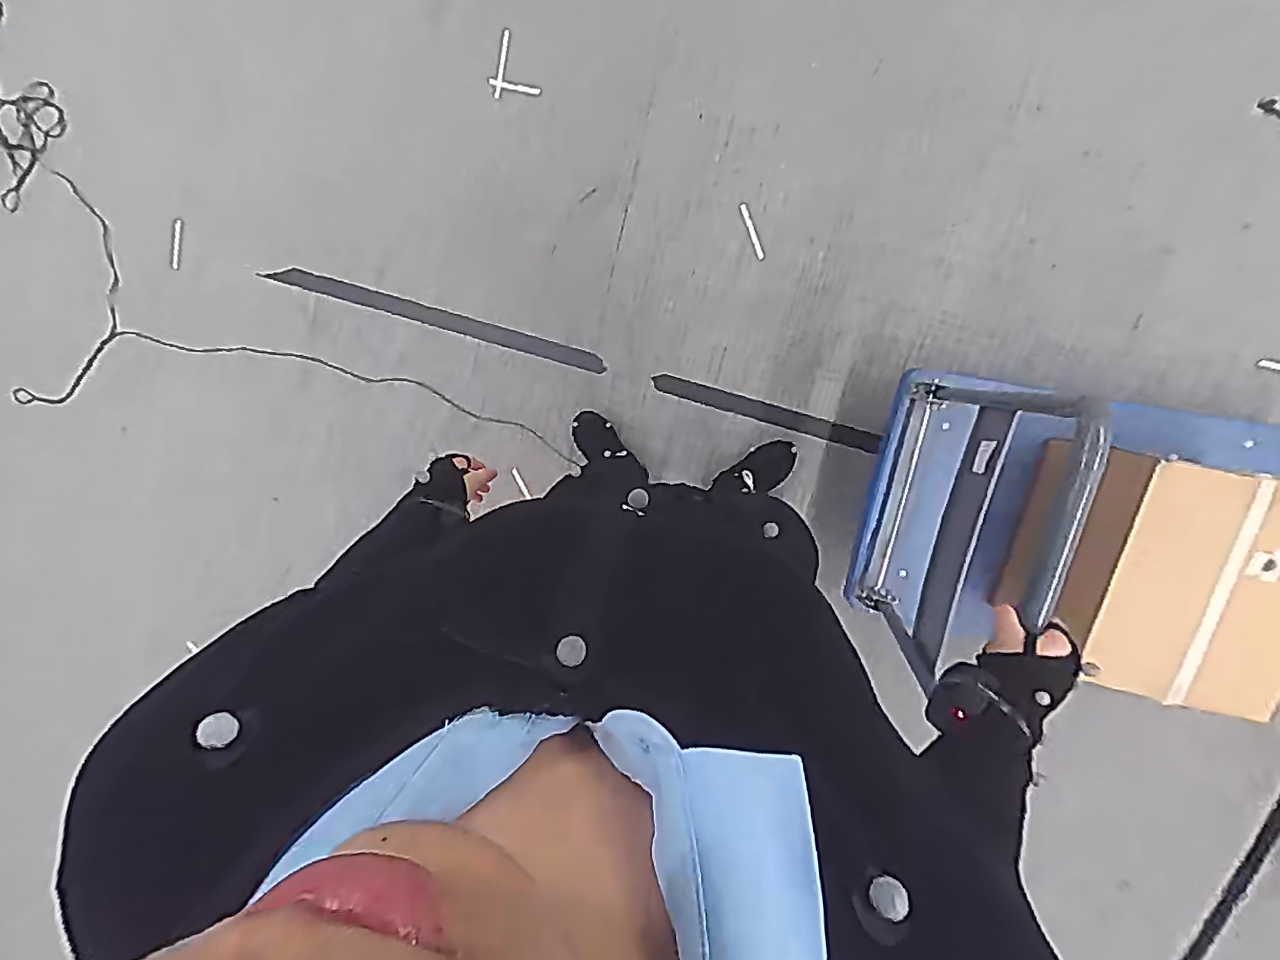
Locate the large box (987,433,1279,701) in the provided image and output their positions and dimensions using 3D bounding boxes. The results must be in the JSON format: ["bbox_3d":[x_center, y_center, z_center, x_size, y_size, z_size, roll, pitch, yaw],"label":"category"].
[{"bbox_3d":[0.958,0.141,1.059,0.320,0.320,0.408,12,101,6],"label":"large box"}]
